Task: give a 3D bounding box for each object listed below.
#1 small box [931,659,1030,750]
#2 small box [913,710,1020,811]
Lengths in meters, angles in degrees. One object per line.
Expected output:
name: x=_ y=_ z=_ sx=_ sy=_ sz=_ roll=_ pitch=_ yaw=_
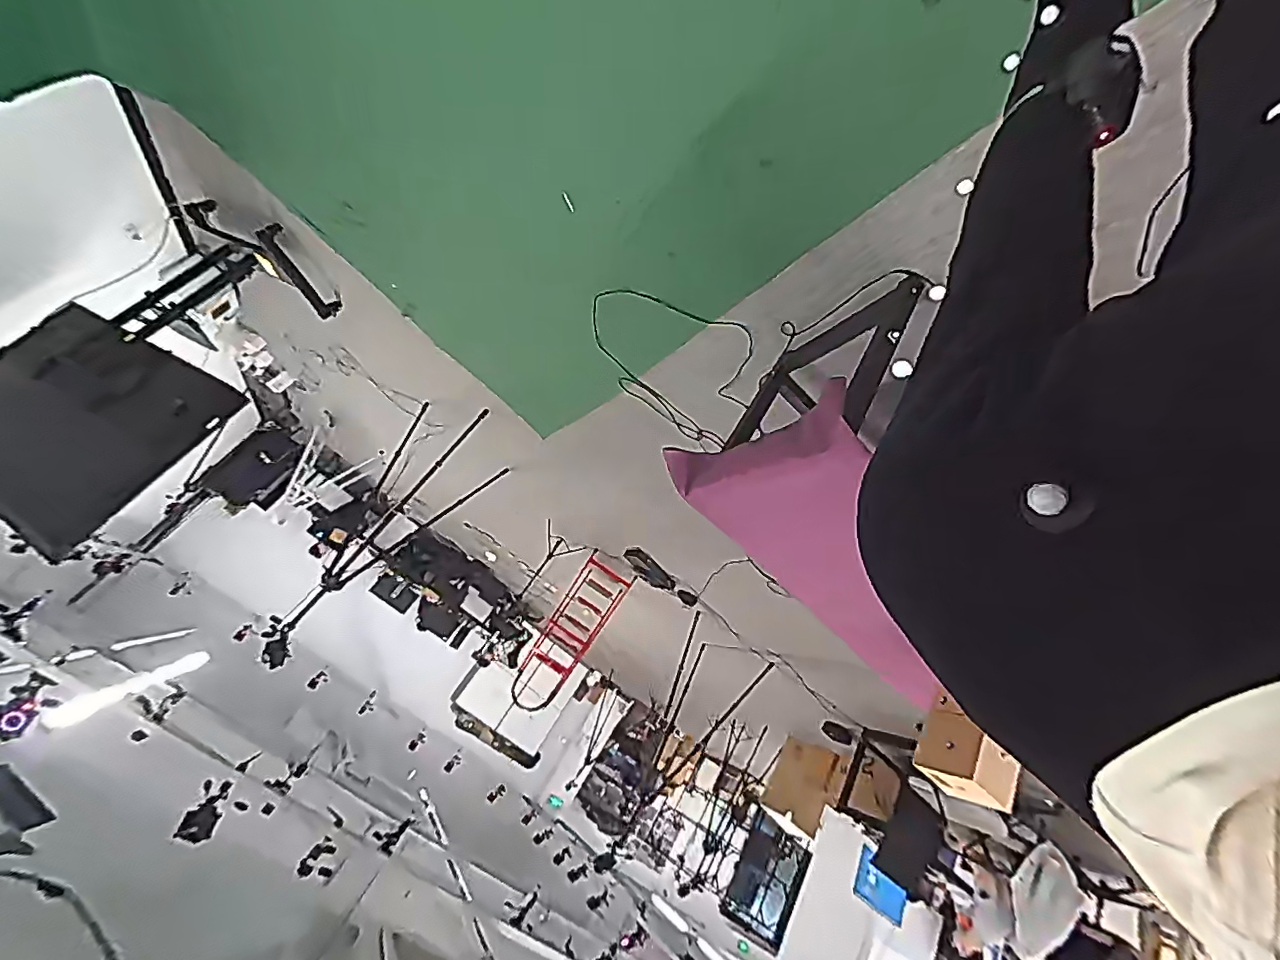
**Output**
small box: x=0.975 y=0.631 z=1.541 sx=0.168 sy=0.176 sz=0.179 roll=41 pitch=154 yaw=-13
small box: x=0.889 y=0.752 z=1.471 sx=0.168 sy=0.176 sz=0.179 roll=41 pitch=153 yaw=-14
